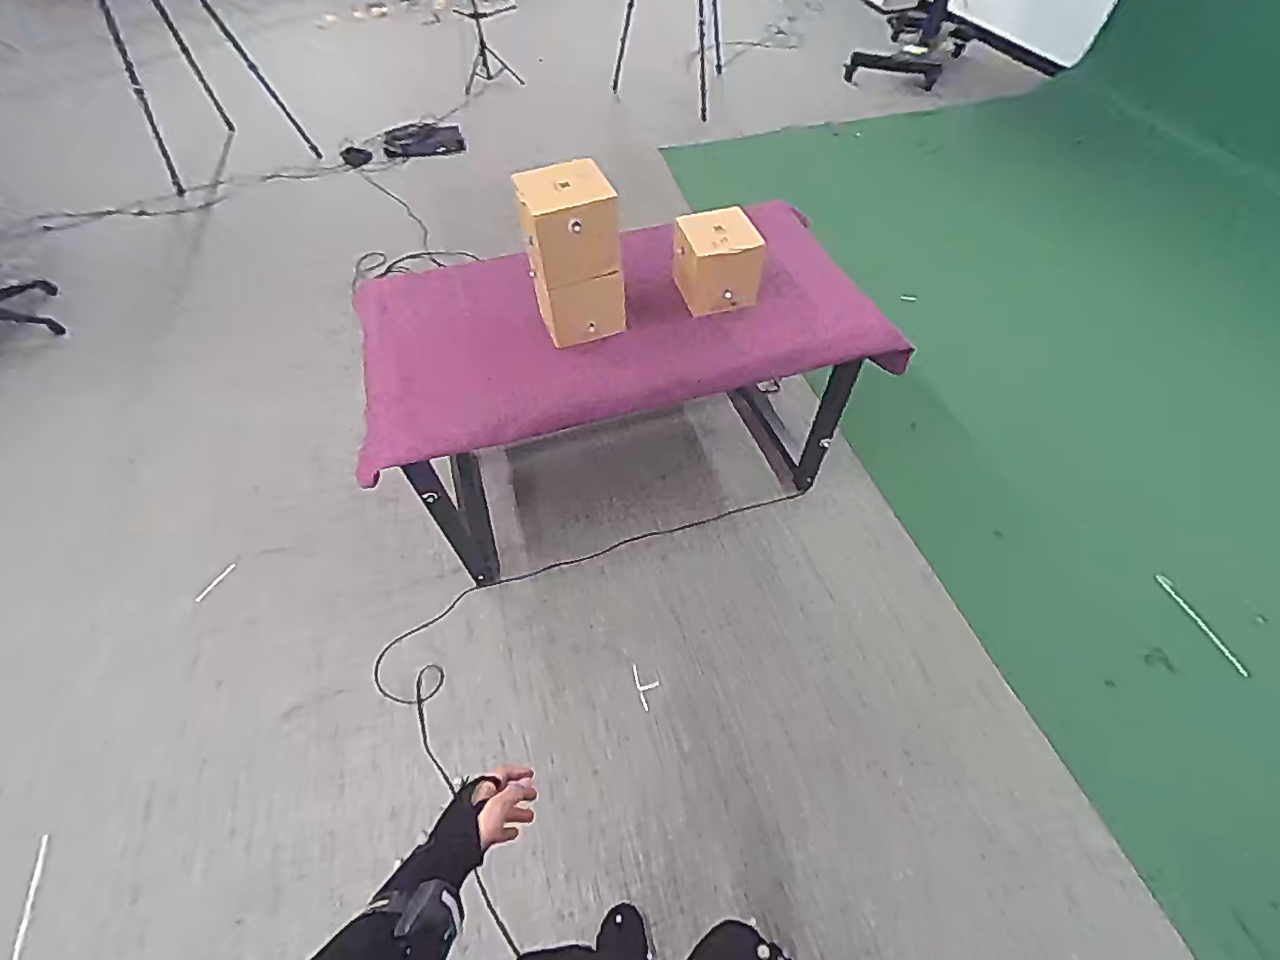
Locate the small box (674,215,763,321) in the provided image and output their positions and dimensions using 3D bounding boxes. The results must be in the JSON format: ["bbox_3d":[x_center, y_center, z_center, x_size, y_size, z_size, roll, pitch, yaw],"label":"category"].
[{"bbox_3d":[0.183,-0.520,1.330,0.168,0.176,0.179,-13,55,-7],"label":"small box"}]

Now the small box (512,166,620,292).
[{"bbox_3d":[-0.151,-0.524,1.140,0.179,0.176,0.168,-18,57,-11],"label":"small box"}]

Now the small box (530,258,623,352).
[{"bbox_3d":[-0.146,-0.430,1.274,0.179,0.176,0.168,-18,56,-11],"label":"small box"}]
